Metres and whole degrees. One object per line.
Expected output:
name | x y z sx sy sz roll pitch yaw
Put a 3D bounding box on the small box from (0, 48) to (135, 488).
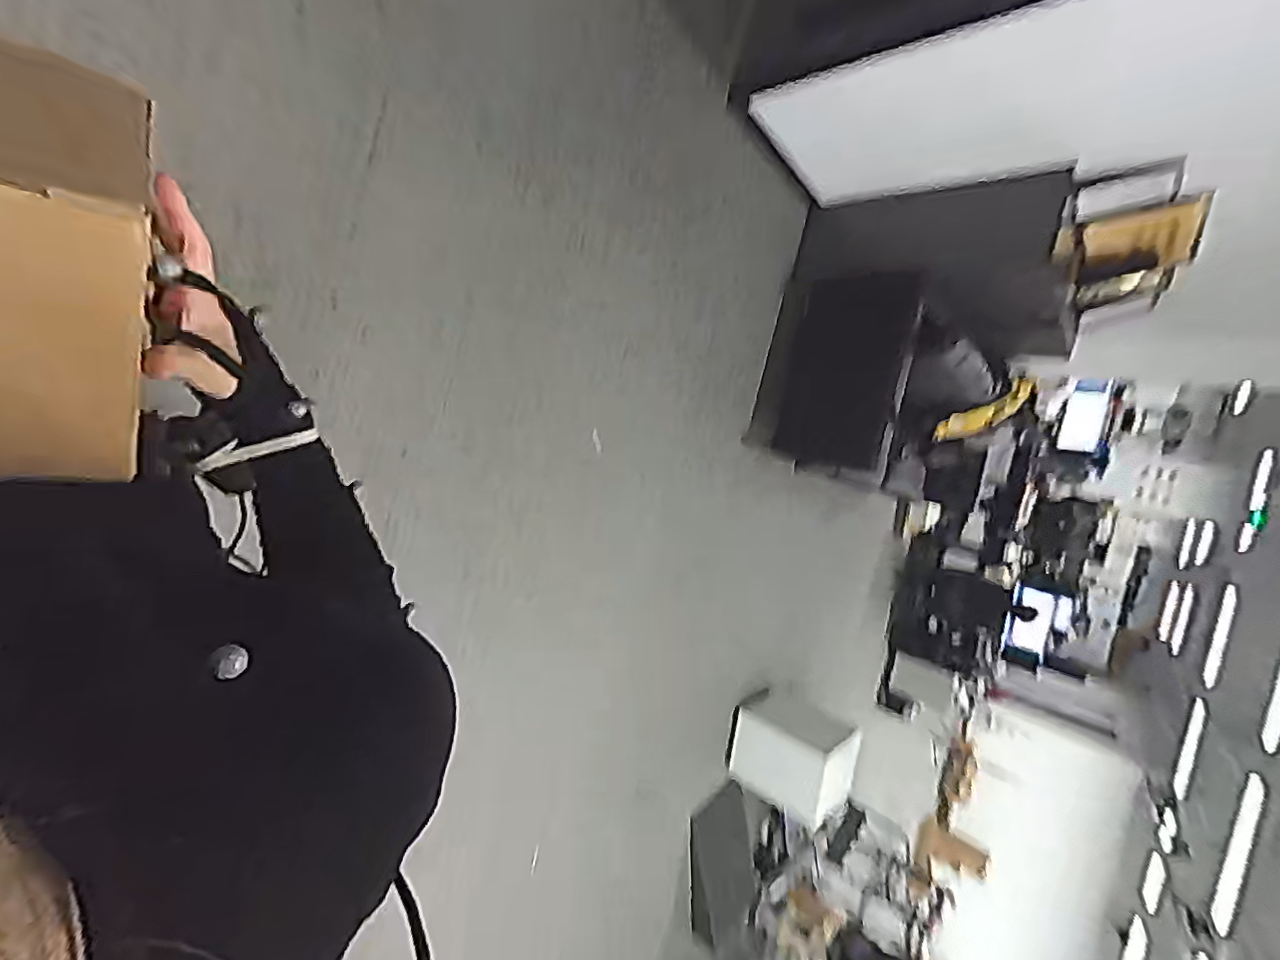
small box | -0.373 -0.117 0.273 0.168 0.176 0.179 3 134 -44
